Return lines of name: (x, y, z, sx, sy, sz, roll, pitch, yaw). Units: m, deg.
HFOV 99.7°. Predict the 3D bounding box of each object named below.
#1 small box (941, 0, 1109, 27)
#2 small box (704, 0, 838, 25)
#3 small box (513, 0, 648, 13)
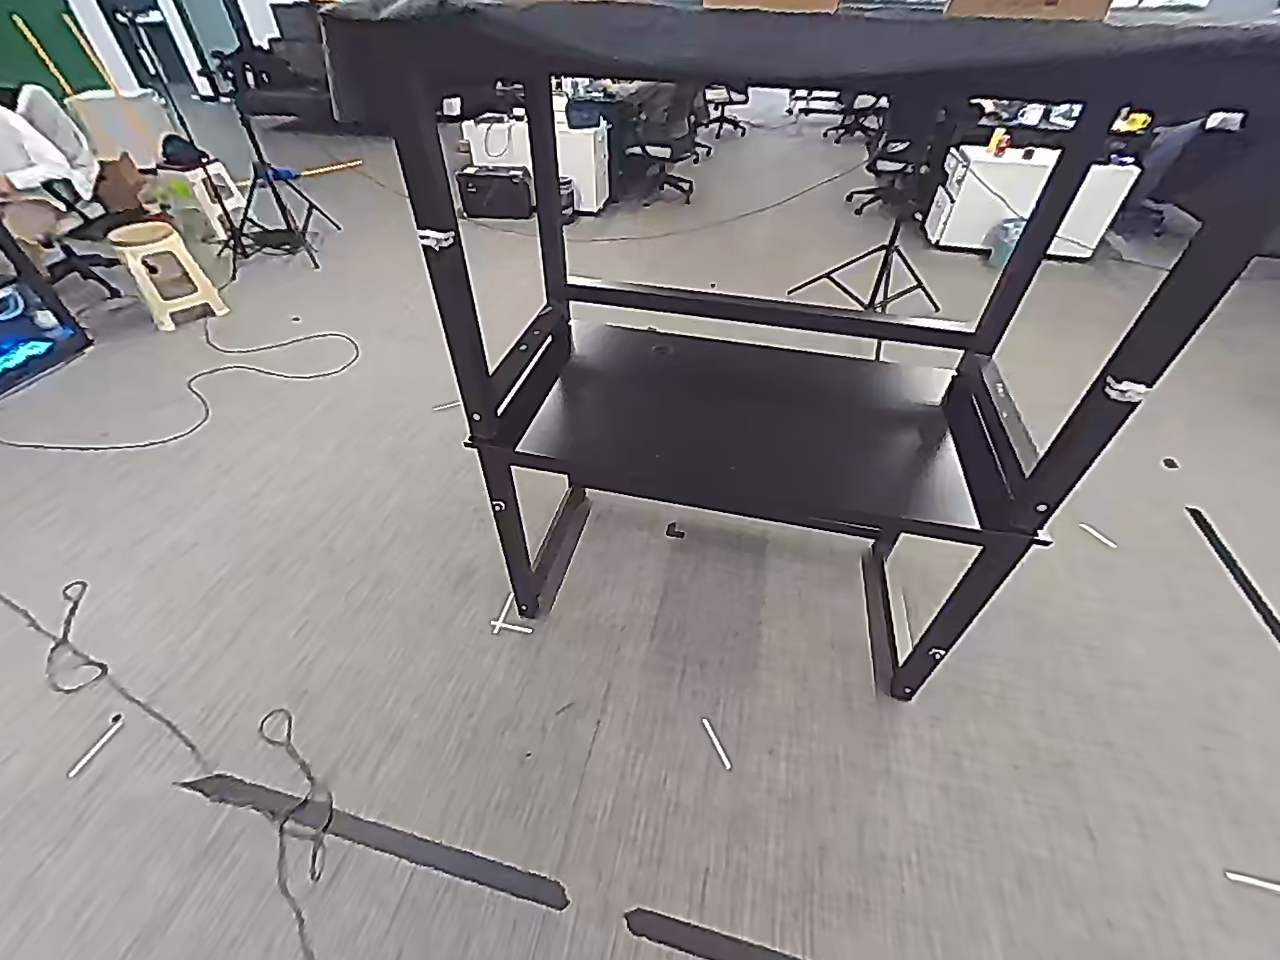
small box: (0.467, -0.636, 0.624, 0.168, 0.176, 0.179, 15, 44, 15)
small box: (0.175, -0.680, 0.668, 0.168, 0.176, 0.179, 9, 42, 8)
small box: (-0.076, -0.716, 0.698, 0.168, 0.176, 0.179, 9, 42, 6)
